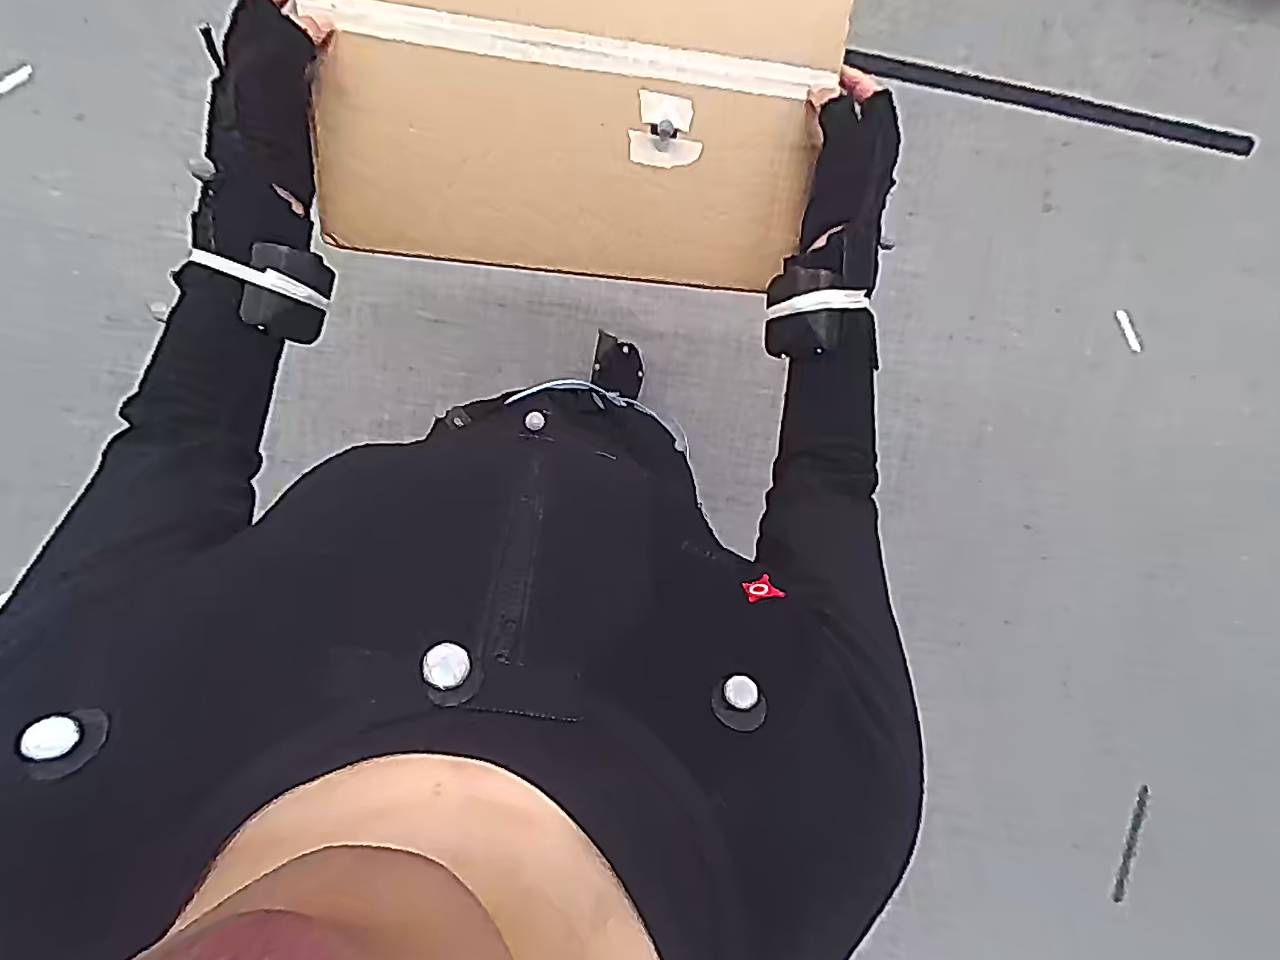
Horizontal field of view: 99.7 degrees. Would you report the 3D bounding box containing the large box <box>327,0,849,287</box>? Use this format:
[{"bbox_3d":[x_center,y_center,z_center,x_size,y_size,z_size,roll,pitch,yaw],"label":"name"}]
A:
[{"bbox_3d":[-0.054,-0.385,0.563,0.408,0.320,0.320,3,112,-8],"label":"large box"}]
